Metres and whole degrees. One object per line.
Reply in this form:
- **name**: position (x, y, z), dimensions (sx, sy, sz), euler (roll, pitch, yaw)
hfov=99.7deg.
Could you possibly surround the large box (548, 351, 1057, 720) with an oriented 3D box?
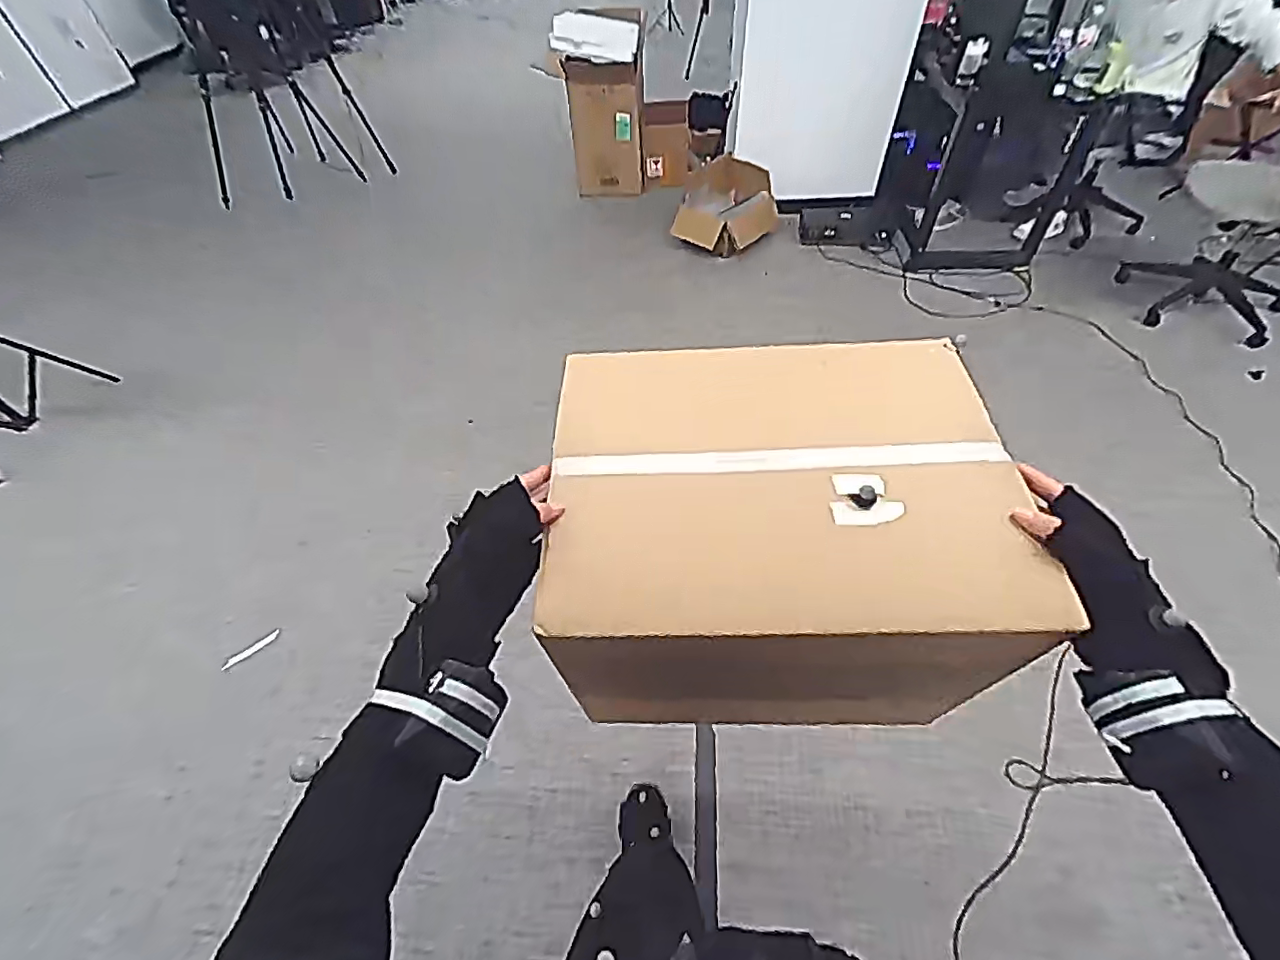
- **large box**: position (0.129, 0.077, 0.625), dimensions (0.408, 0.320, 0.320), euler (-1, 55, 3)
